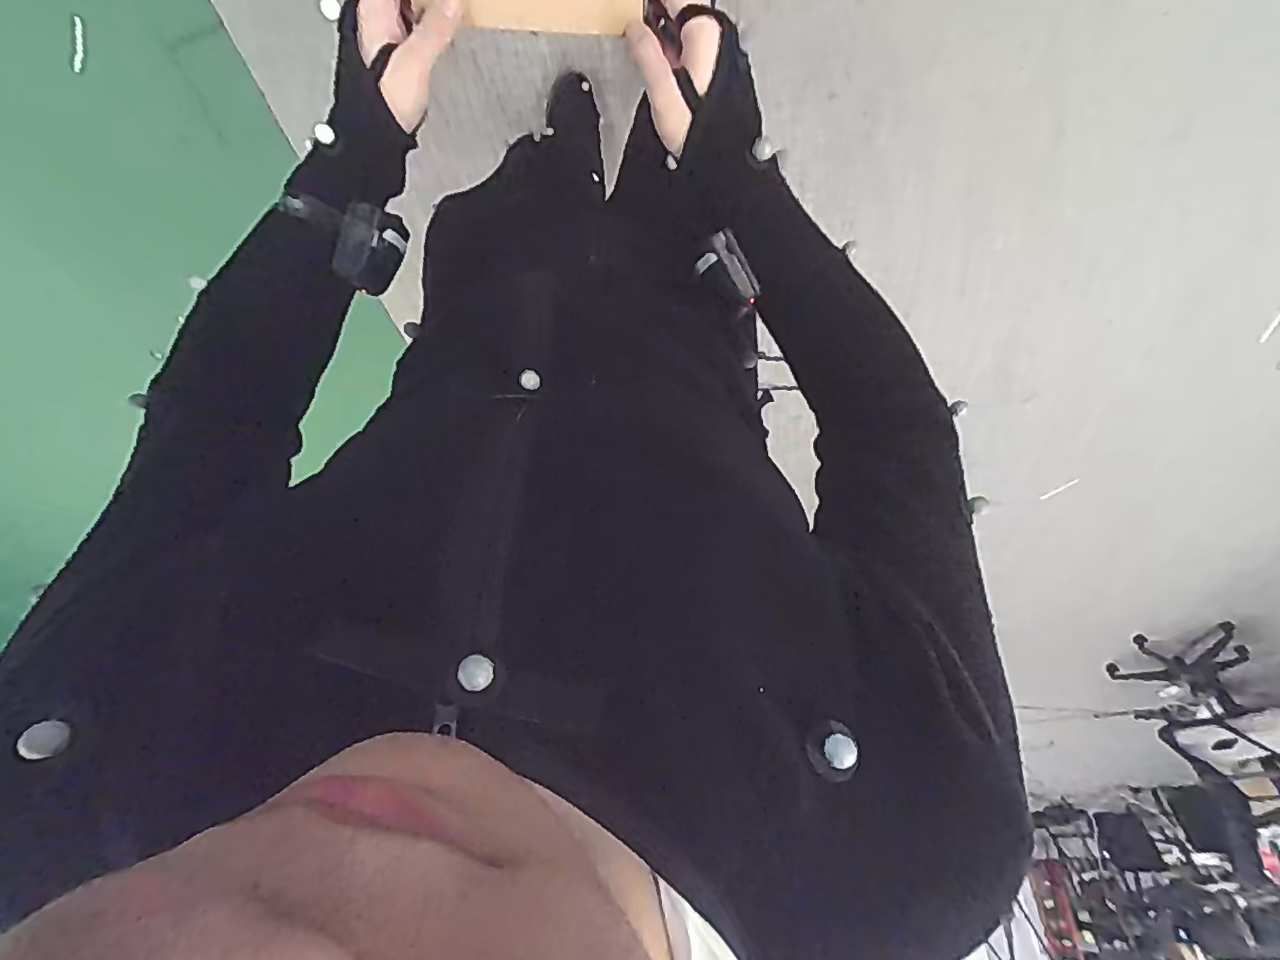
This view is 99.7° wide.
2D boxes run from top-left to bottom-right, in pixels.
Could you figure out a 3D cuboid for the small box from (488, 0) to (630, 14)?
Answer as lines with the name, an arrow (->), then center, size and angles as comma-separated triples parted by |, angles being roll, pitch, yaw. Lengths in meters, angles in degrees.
small box -> -0.085, -0.458, 0.375 | 0.179, 0.176, 0.168 | 5, 142, -1
